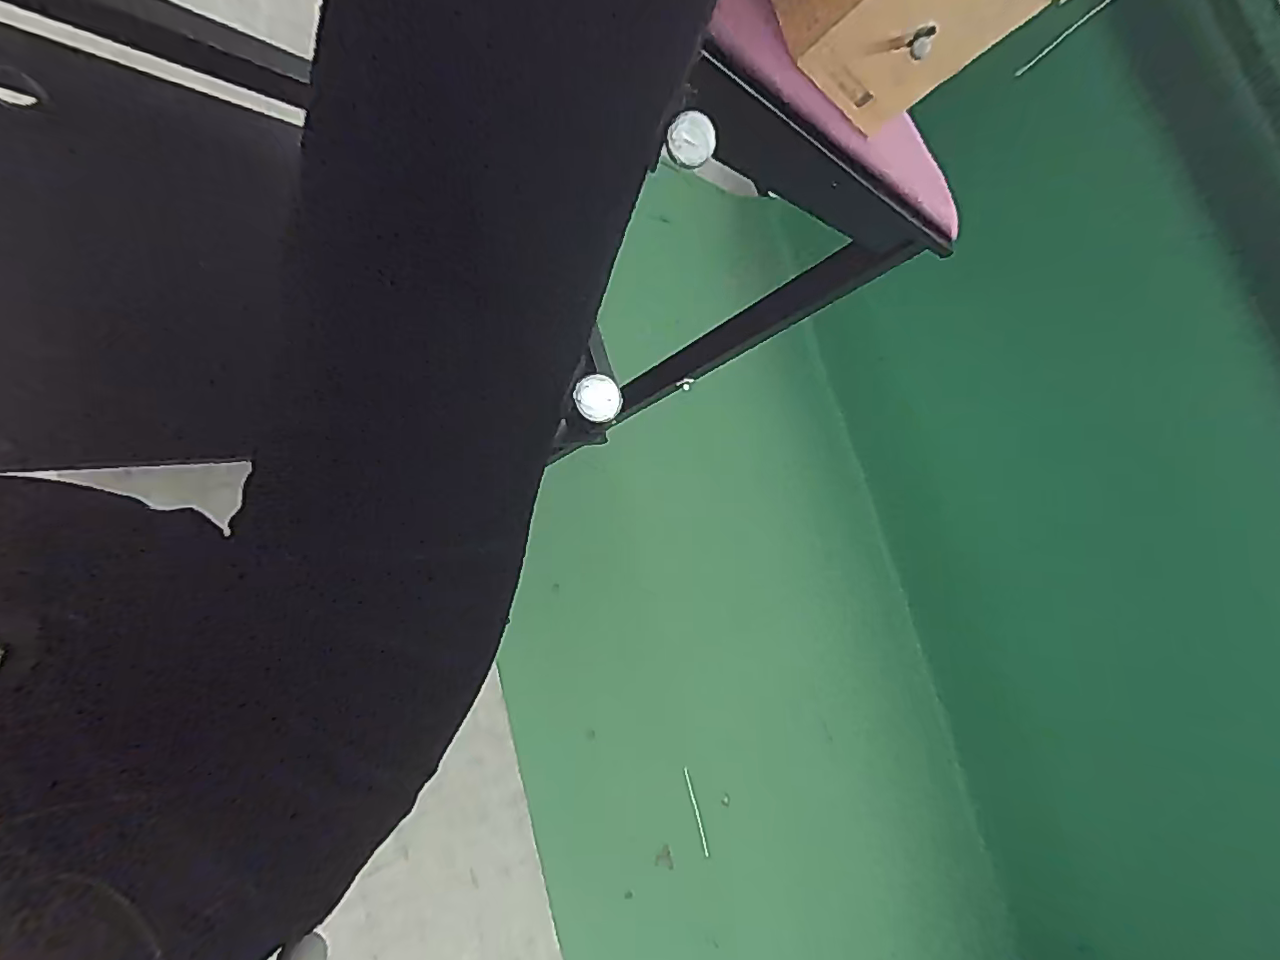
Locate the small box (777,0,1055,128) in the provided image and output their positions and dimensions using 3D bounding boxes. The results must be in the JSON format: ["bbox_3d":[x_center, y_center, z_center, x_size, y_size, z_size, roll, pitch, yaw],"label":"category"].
[{"bbox_3d":[0.219,-0.456,0.465,0.168,0.176,0.179,-6,78,-47],"label":"small box"}]
